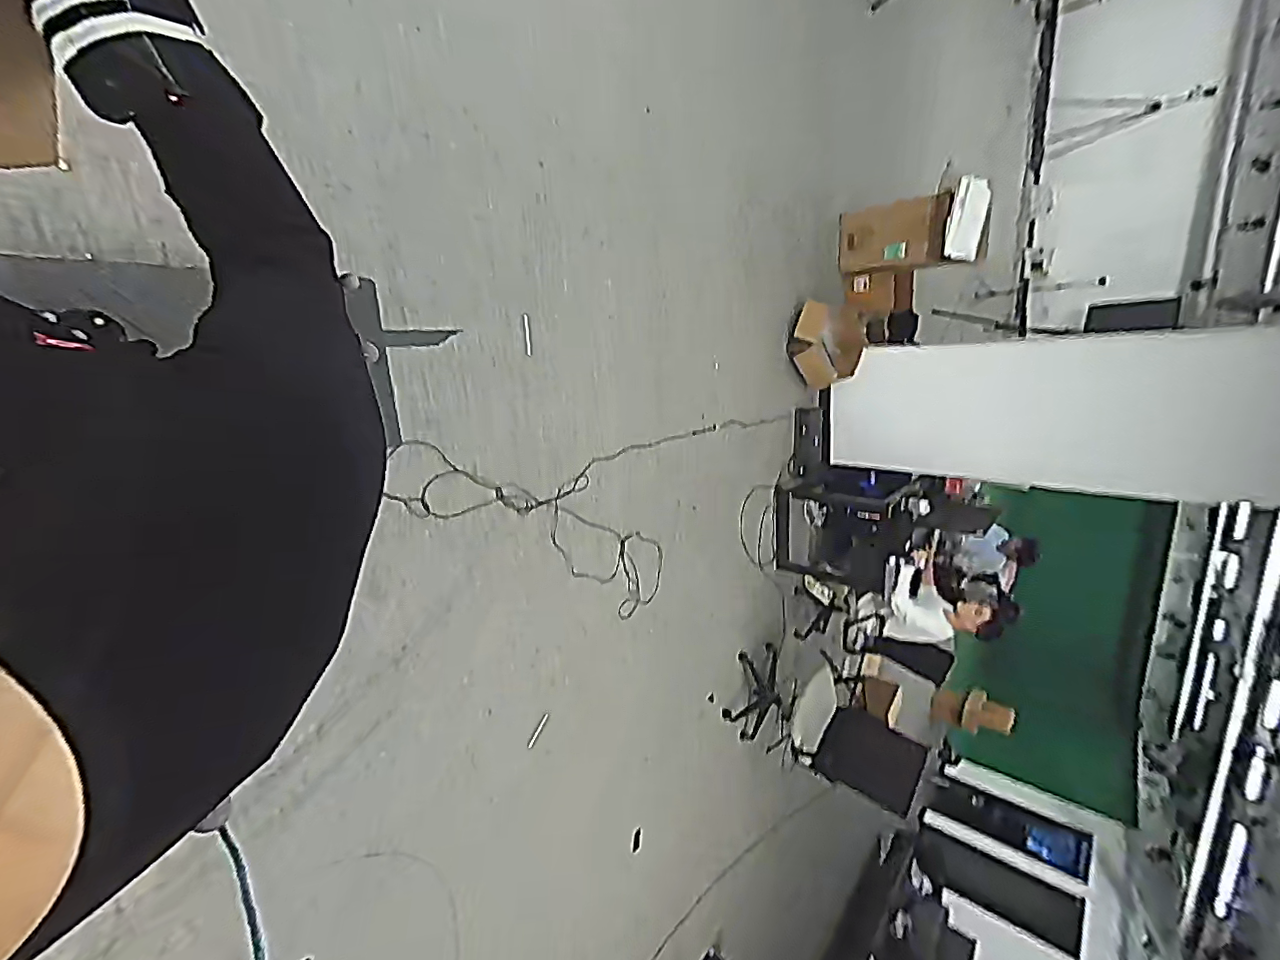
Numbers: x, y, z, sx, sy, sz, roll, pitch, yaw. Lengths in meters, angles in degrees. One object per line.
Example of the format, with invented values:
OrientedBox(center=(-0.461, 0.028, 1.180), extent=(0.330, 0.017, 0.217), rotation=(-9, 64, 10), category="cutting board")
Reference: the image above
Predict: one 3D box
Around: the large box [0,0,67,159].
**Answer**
OrientedBox(center=(-0.600, -0.358, 0.233), extent=(0.408, 0.320, 0.320), rotation=(-34, 114, -42), category="large box")

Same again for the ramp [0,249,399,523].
OrientedBox(center=(-1.031, -0.240, 1.218), extent=(0.991, 0.206, 0.509), rotation=(-21, 111, -45), category="ramp")
